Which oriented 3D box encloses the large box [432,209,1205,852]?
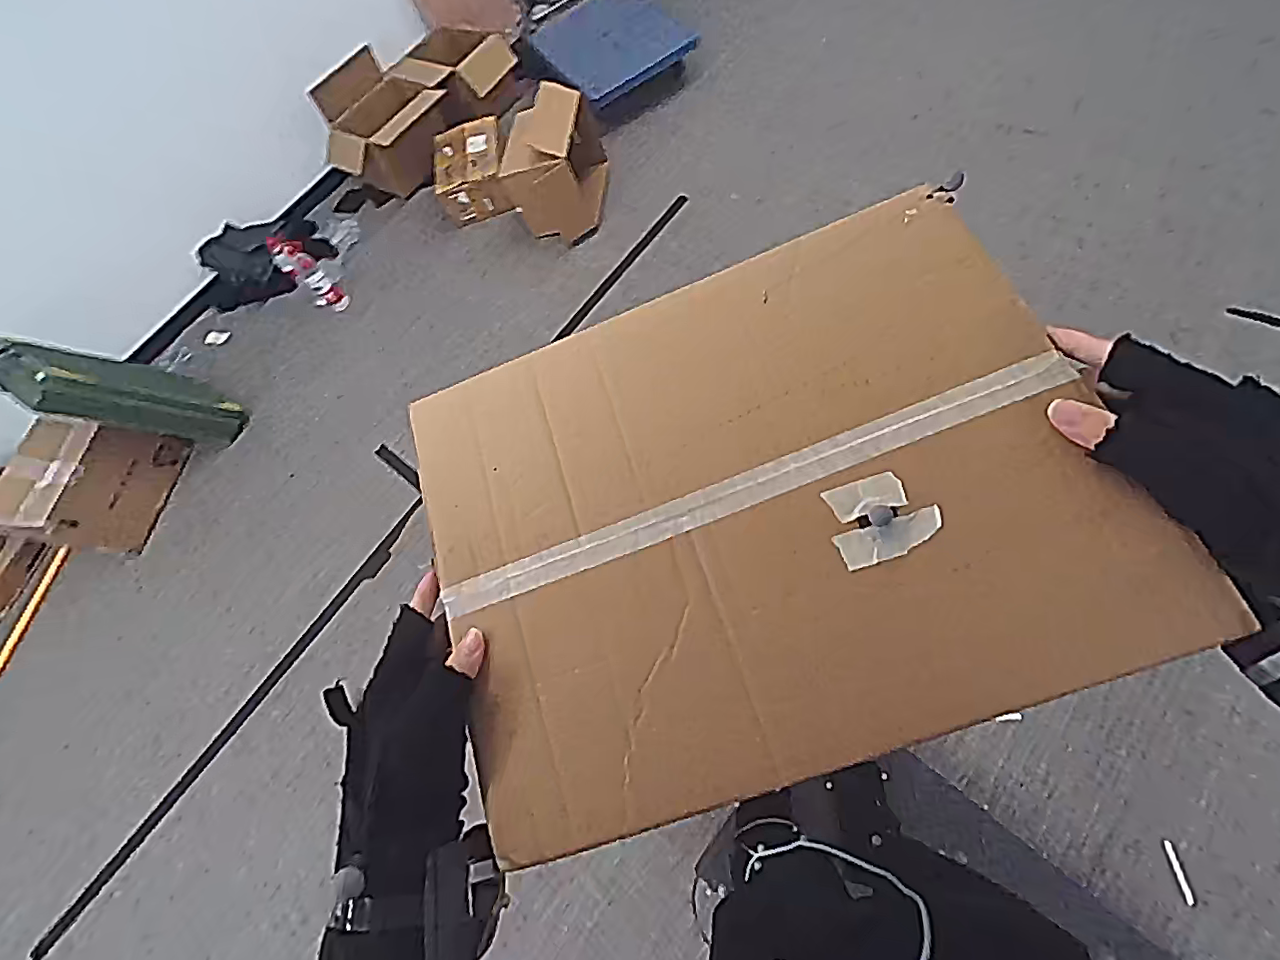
[{"bbox_3d":[0.096,0.057,0.488,0.408,0.320,0.320,-21,70,5],"label":"large box"}]
